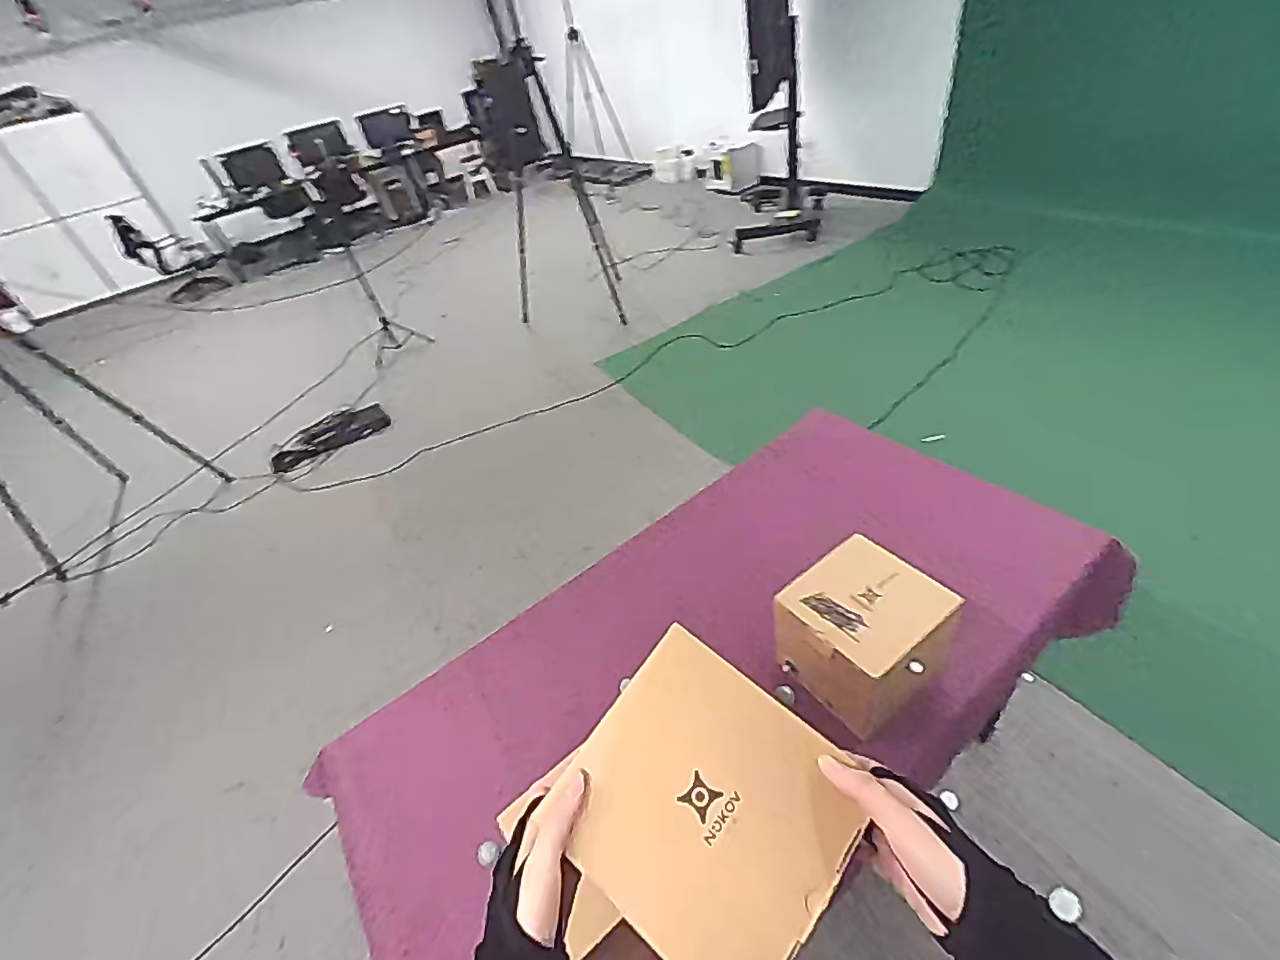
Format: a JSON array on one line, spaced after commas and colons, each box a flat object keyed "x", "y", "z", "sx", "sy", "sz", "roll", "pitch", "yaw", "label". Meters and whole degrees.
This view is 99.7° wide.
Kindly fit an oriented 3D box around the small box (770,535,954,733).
[{"x": 0.309, "y": 0.219, "z": 0.772, "sx": 0.179, "sy": 0.176, "sz": 0.168, "roll": -31, "pitch": 43, "yaw": -20, "label": "small box"}]

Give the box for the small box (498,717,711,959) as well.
[{"x": -0.032, "y": 0.427, "z": 0.631, "sx": 0.179, "sy": 0.176, "sz": 0.168, "roll": -33, "pitch": 43, "yaw": -21, "label": "small box"}]
